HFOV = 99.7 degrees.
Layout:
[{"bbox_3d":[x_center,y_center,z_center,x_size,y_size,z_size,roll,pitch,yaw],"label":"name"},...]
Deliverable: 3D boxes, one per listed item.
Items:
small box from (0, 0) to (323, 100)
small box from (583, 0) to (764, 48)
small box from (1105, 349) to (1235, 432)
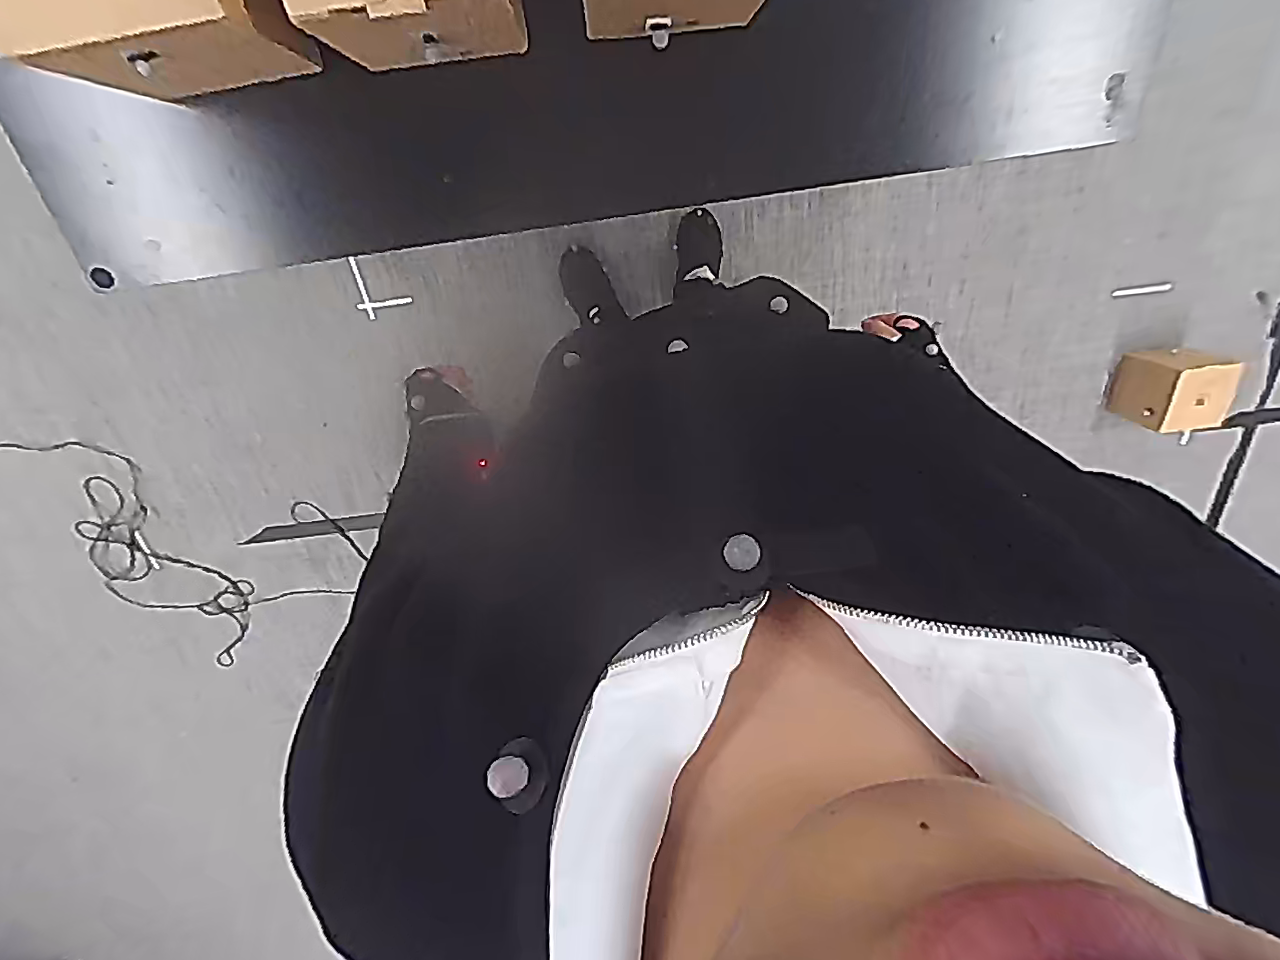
[{"bbox_3d":[-0.413,-0.441,0.451,0.179,0.176,0.168,-10,116,0],"label":"small box"},{"bbox_3d":[0.024,-0.500,0.453,0.168,0.176,0.179,-7,117,1],"label":"small box"},{"bbox_3d":[1.428,-0.247,1.474,0.168,0.176,0.179,-7,116,0],"label":"small box"}]
